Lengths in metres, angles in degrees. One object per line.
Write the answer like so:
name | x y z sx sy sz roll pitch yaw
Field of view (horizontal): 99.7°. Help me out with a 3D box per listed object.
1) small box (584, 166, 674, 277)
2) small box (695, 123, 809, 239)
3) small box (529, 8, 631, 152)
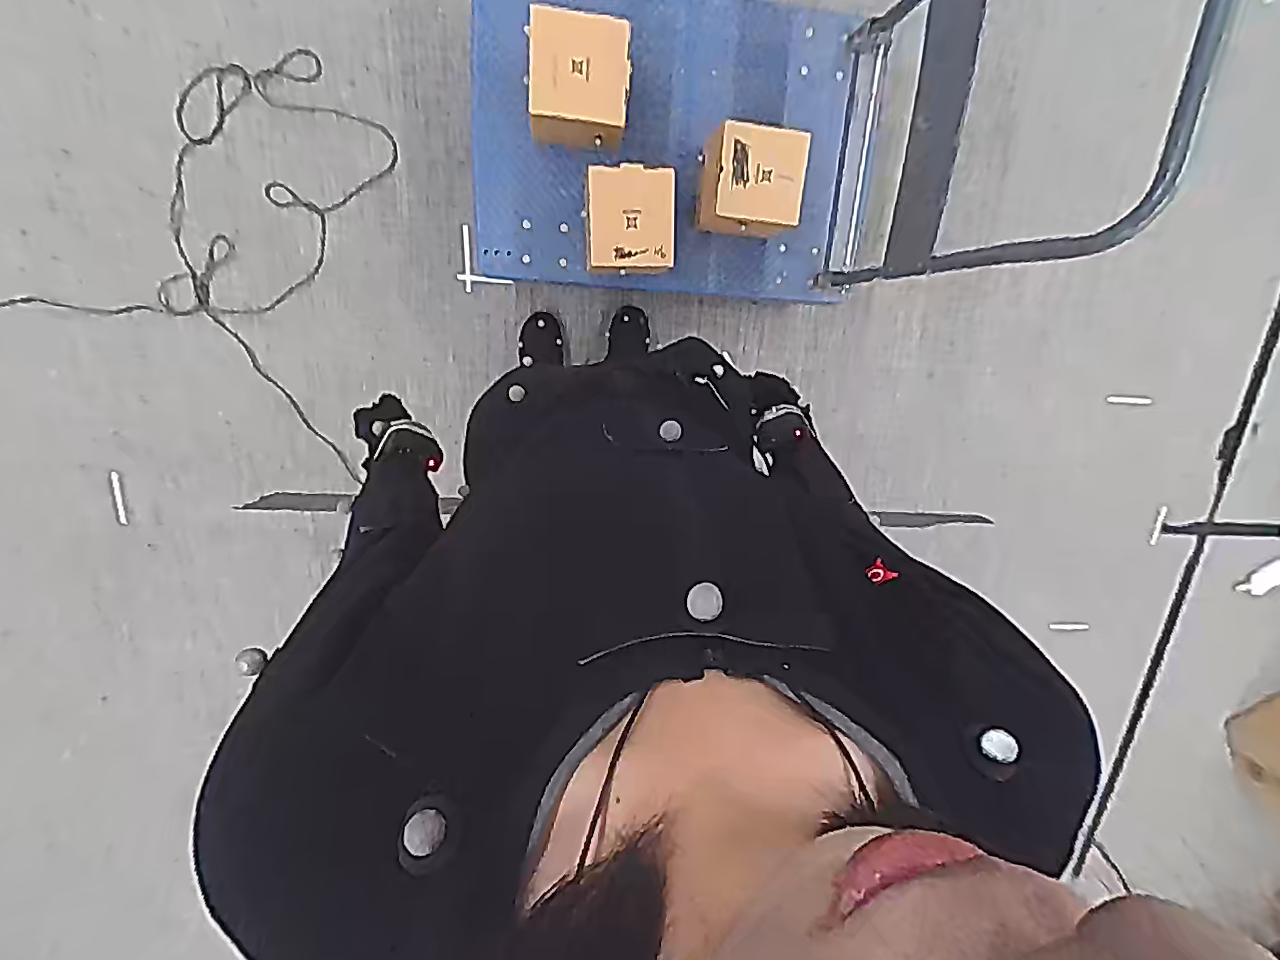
small box | -0.028 -0.521 1.112 0.168 0.176 0.179 -2 105 -8
small box | 0.222 -0.608 1.123 0.179 0.176 0.168 3 105 -10
small box | -0.118 -0.747 1.033 0.179 0.176 0.168 2 105 -8
